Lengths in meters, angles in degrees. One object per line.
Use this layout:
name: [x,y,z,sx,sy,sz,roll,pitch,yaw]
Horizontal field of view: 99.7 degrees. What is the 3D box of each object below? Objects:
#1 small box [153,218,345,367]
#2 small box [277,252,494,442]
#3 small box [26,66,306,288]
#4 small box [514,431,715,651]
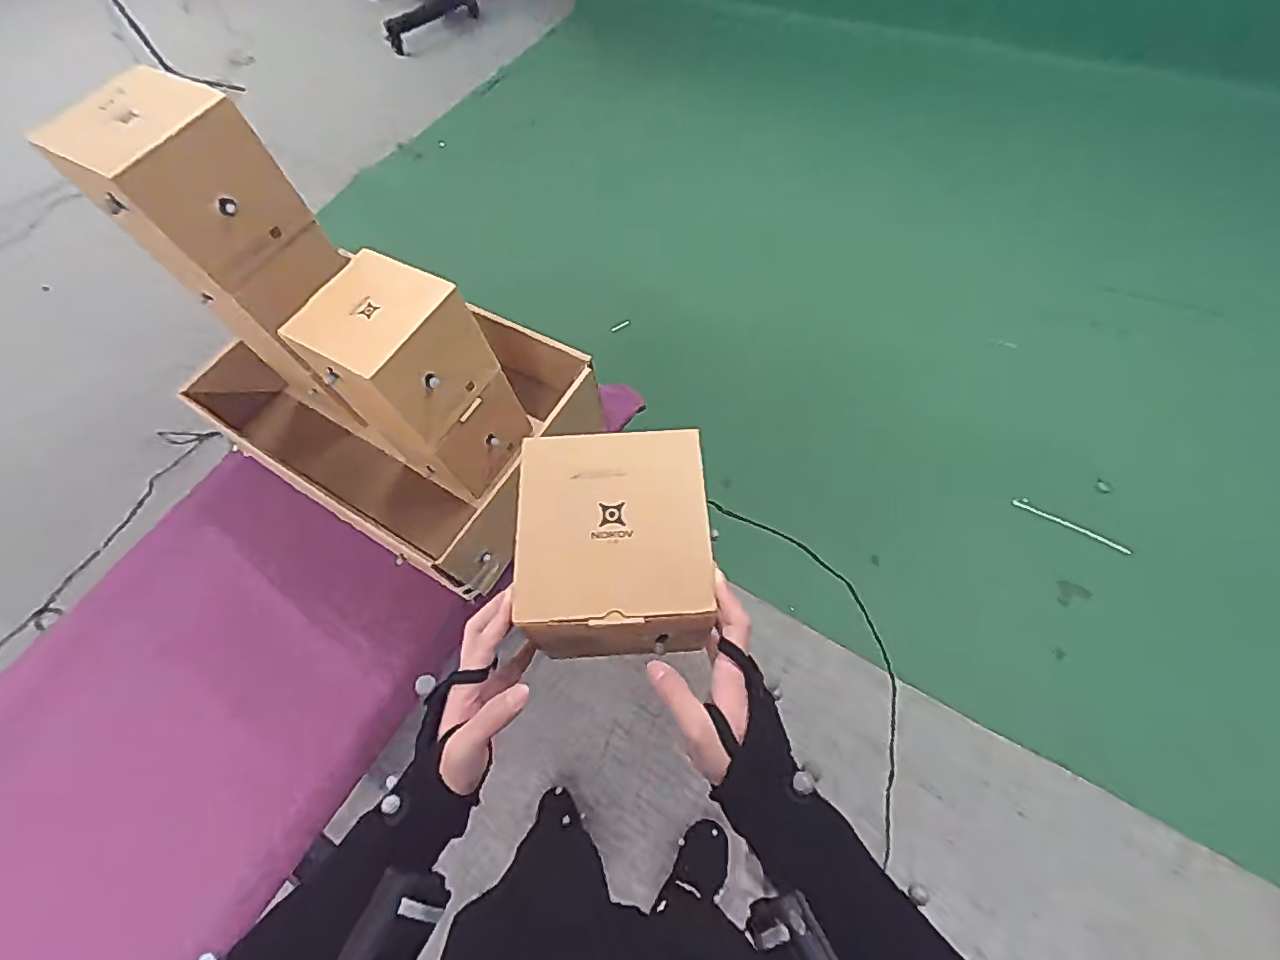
small box: [-0.573,-0.306,0.841,0.179,0.176,0.168,26,69,16]
small box: [-0.336,-0.176,0.751,0.179,0.176,0.168,26,70,20]
small box: [-0.584,-0.378,0.693,0.179,0.176,0.168,27,69,17]
small box: [-0.020,0.070,0.538,0.168,0.176,0.179,-2,63,0]
